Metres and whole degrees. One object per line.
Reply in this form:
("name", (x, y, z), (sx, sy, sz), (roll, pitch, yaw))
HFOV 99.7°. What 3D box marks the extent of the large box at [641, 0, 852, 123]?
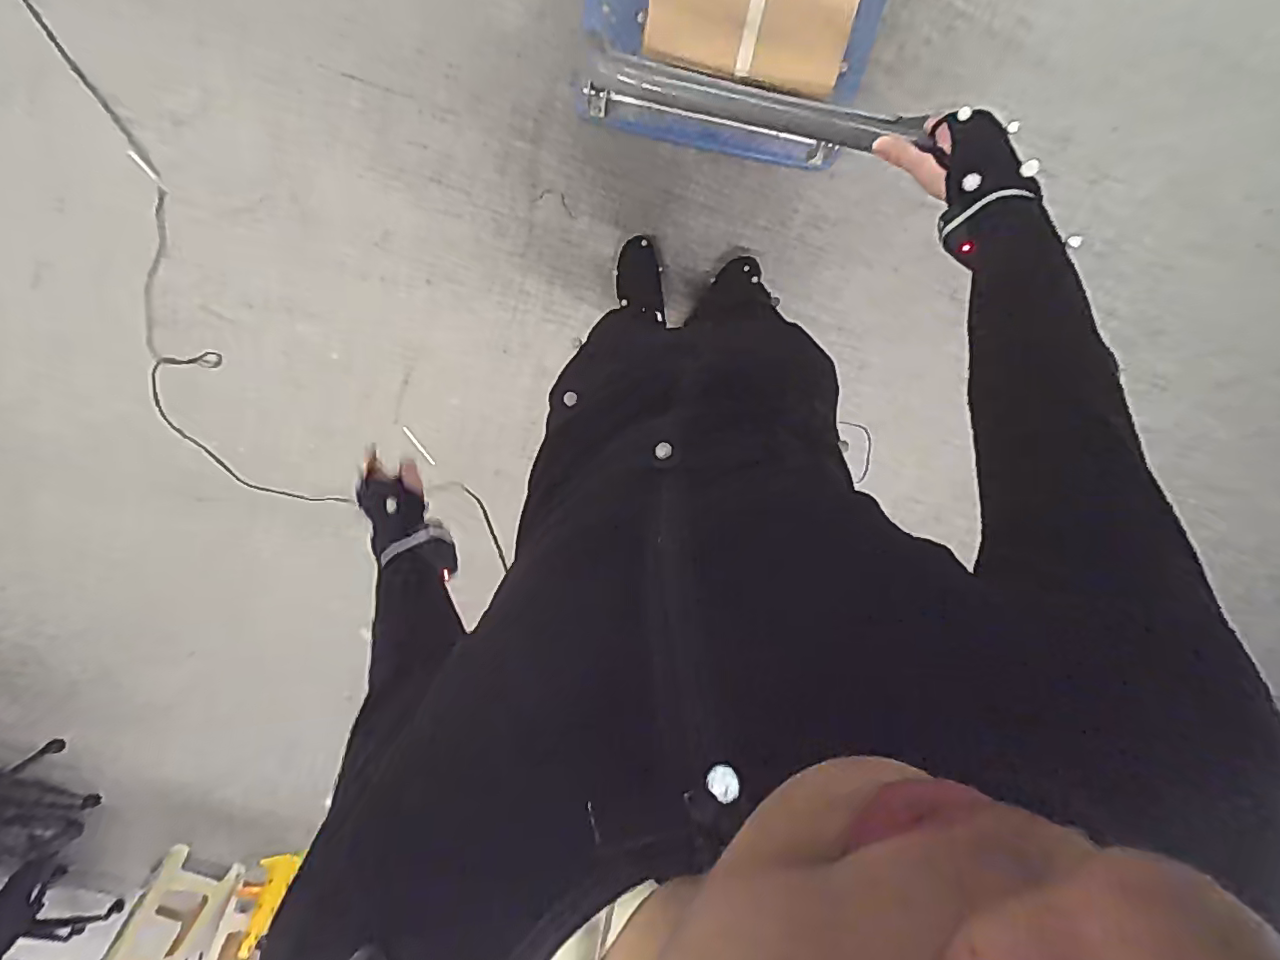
("large box", (0.184, -0.887, 0.920), (0.320, 0.320, 0.408), (8, 116, -7))
